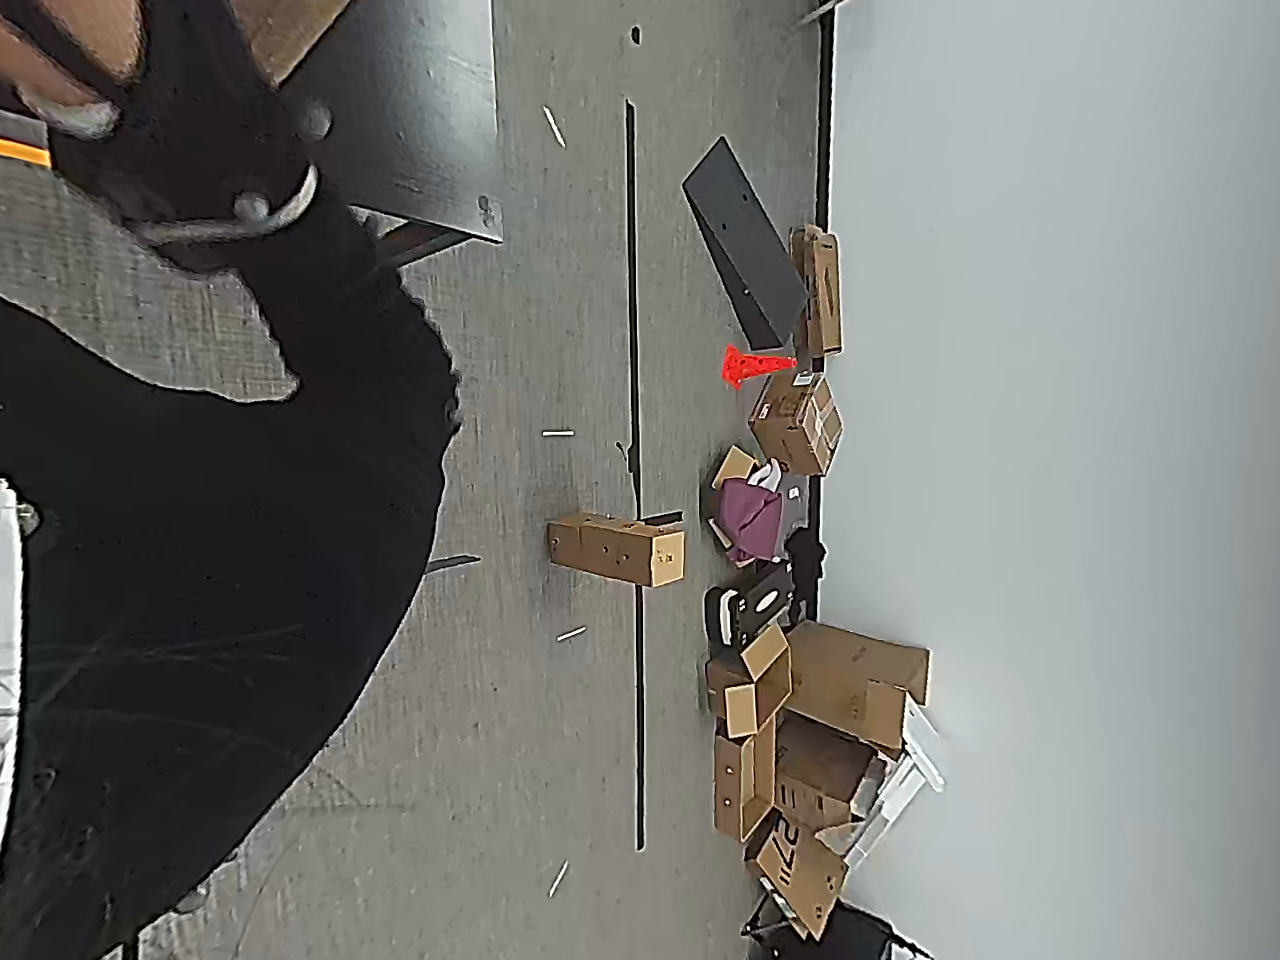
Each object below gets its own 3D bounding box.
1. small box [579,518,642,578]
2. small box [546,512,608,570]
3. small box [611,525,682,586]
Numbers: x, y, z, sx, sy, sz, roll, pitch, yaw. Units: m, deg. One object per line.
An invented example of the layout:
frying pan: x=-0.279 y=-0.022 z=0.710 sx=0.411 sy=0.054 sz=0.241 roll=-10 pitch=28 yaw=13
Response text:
small box: x=-0.105 y=0.236 z=1.936 sx=0.168 sy=0.176 sz=0.179 roll=-9 pitch=101 yaw=-49
small box: x=-0.232 y=0.224 z=2.040 sx=0.179 sy=0.176 sz=0.168 roll=-15 pitch=105 yaw=-47
small box: x=0.023 y=0.251 z=1.833 sx=0.179 sy=0.176 sz=0.168 roll=-4 pitch=97 yaw=-50
